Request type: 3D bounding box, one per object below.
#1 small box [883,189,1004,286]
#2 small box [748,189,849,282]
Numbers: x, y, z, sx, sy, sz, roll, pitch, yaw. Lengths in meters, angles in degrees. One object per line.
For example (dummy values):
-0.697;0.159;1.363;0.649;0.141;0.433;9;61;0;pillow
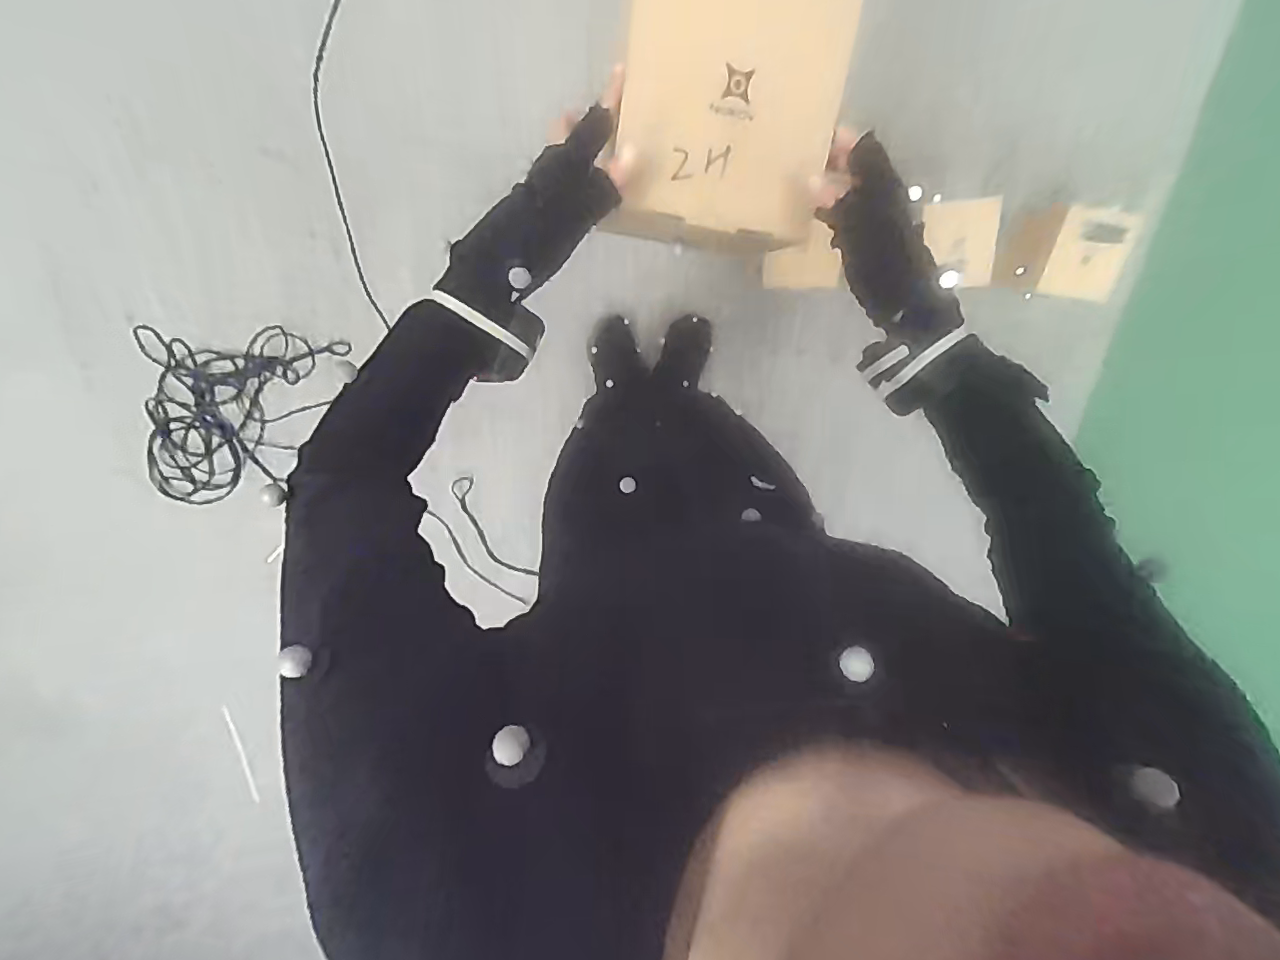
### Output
0.655;-0.530;1.189;0.168;0.176;0.179;-5;113;1;small box
0.337;-0.531;1.184;0.168;0.176;0.179;-1;114;0;small box
